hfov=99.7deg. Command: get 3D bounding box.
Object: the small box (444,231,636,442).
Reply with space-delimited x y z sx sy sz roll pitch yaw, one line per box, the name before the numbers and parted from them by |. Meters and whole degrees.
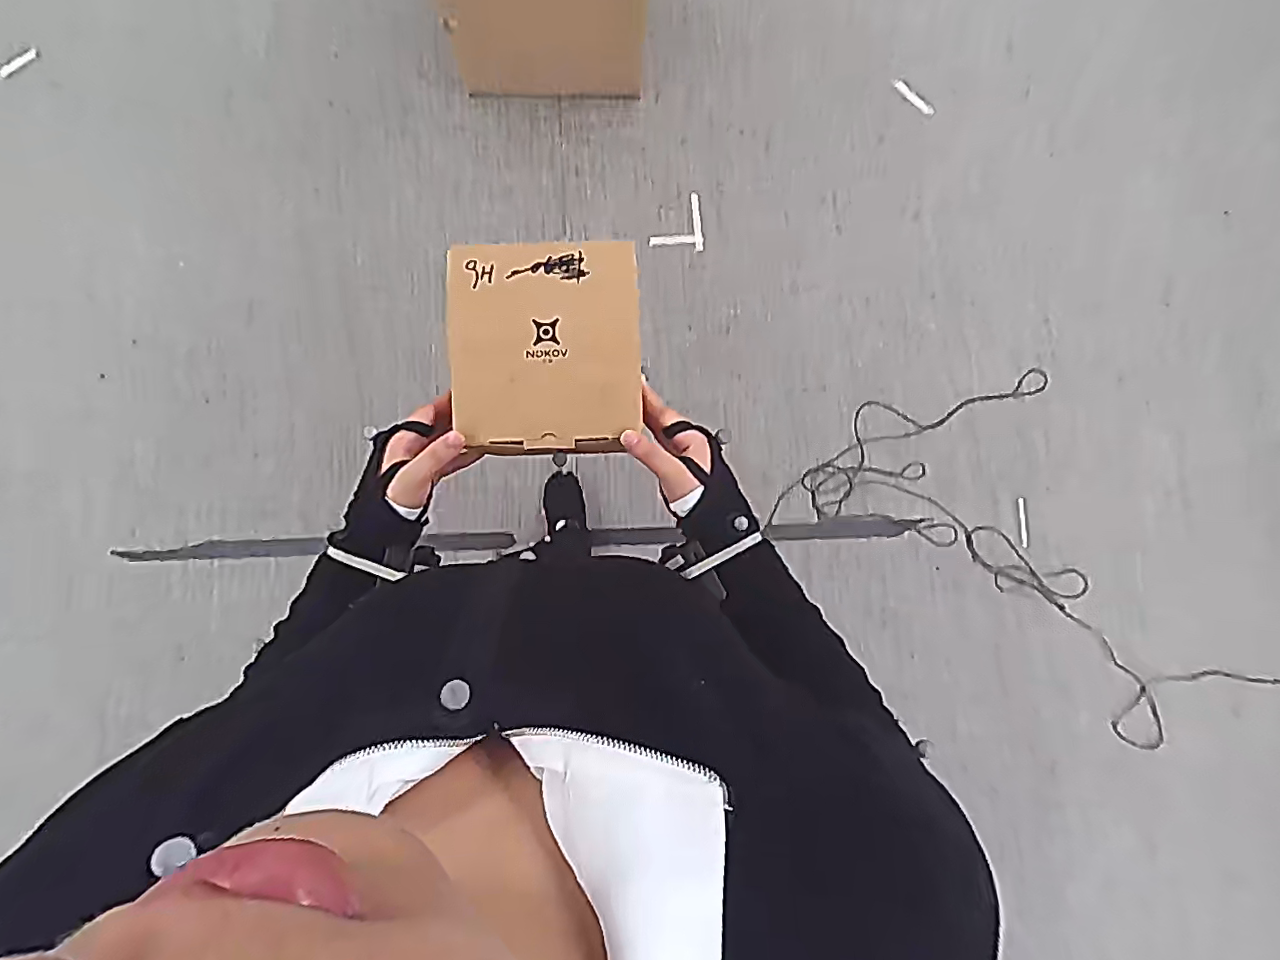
small box | -0.087 -0.129 0.550 0.168 0.176 0.179 -2 90 -2
